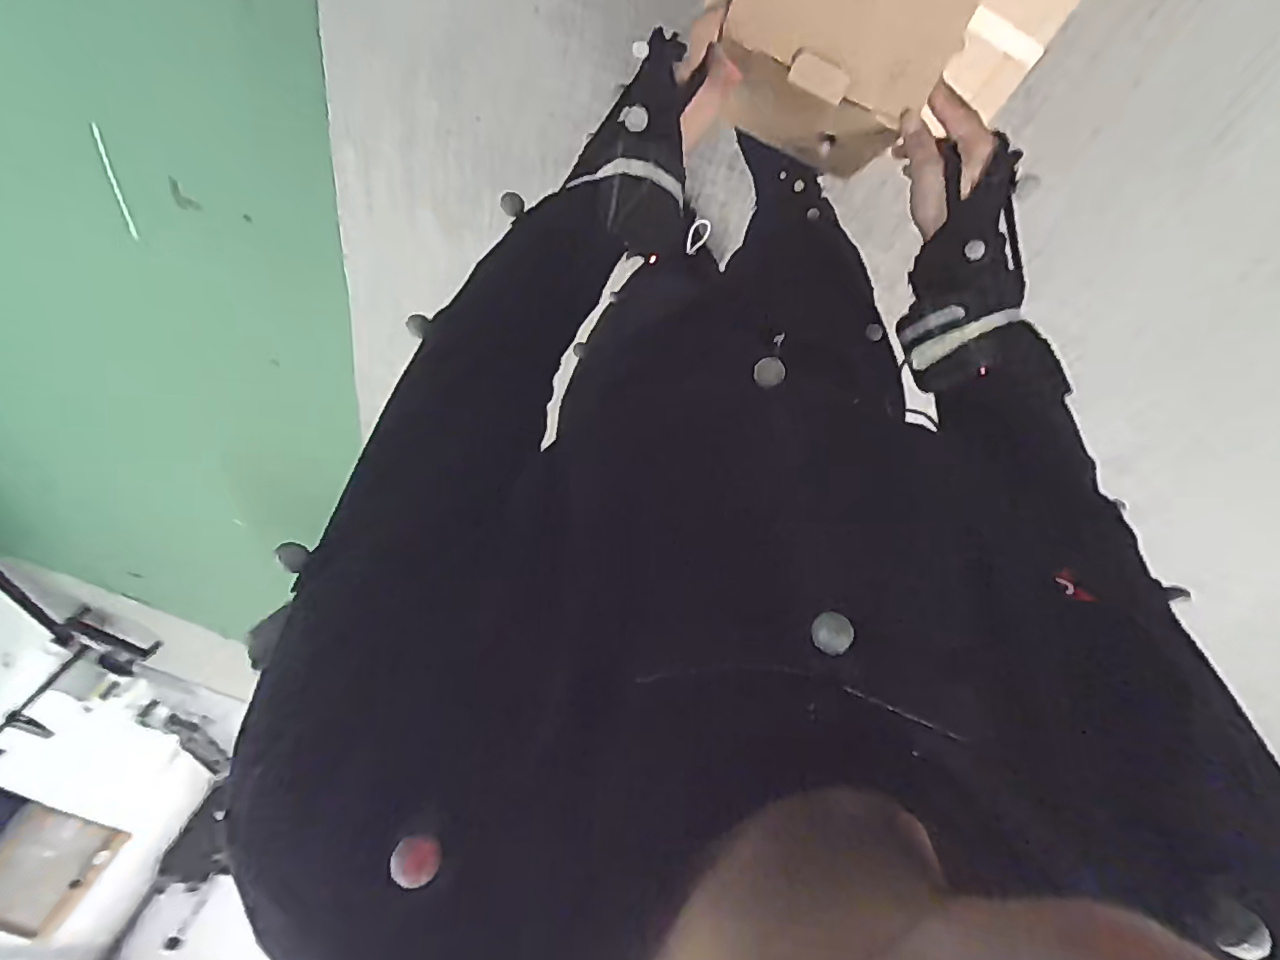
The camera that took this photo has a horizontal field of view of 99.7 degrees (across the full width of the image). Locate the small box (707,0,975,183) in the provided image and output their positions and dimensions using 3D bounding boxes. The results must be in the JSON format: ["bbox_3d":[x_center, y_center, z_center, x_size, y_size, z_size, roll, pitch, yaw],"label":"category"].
[{"bbox_3d":[0.166,-0.389,0.462,0.168,0.176,0.179,24,105,-5],"label":"small box"}]

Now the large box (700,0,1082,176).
[{"bbox_3d":[0.341,-0.703,0.743,0.408,0.320,0.320,25,136,-8],"label":"large box"}]
